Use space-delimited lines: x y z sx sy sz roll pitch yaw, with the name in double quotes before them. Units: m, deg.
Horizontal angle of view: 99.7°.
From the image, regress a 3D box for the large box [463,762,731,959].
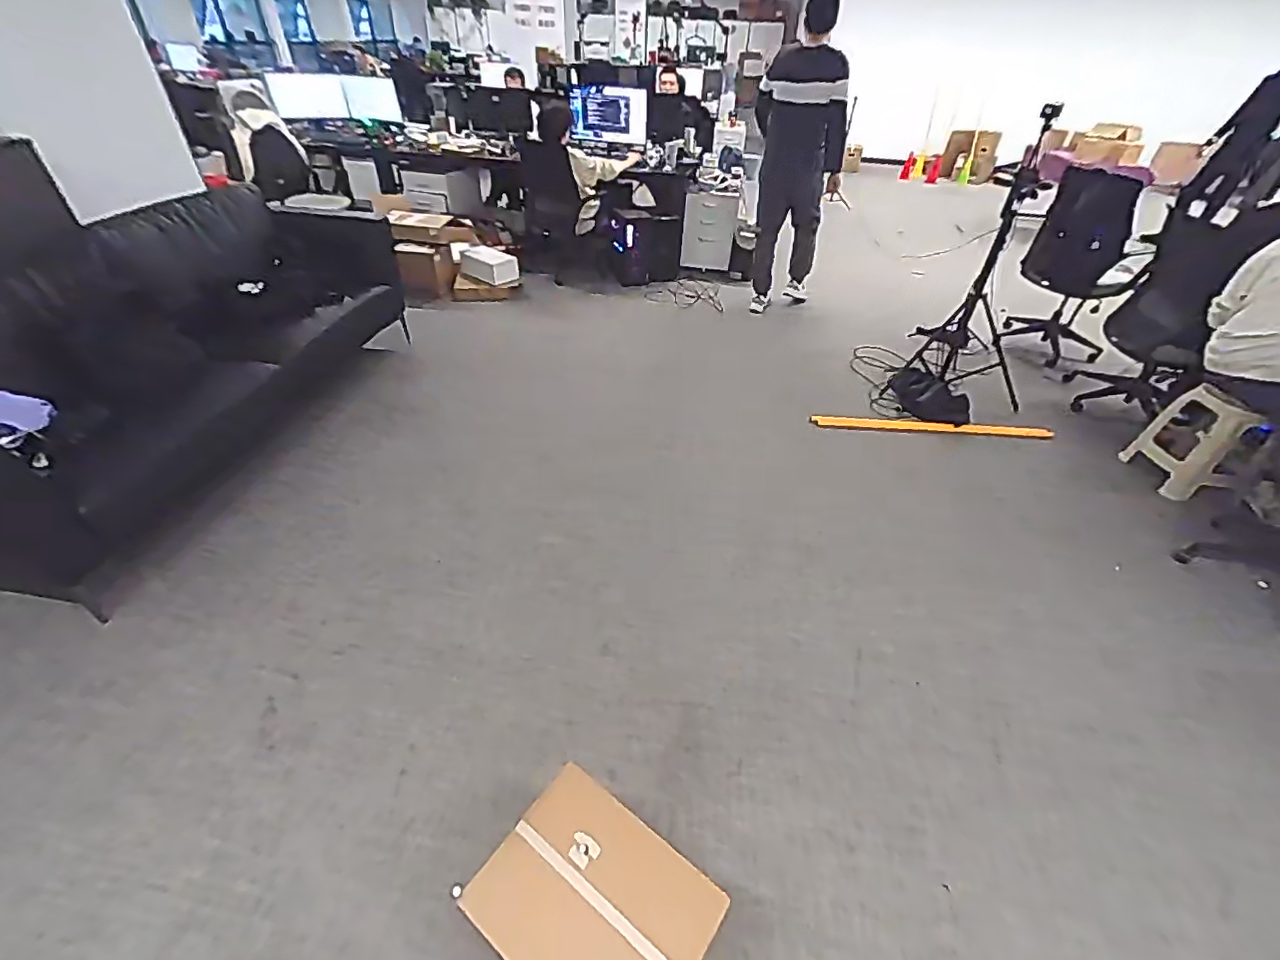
"large box" -0.077 0.878 1.088 0.408 0.320 0.320 26 45 27
